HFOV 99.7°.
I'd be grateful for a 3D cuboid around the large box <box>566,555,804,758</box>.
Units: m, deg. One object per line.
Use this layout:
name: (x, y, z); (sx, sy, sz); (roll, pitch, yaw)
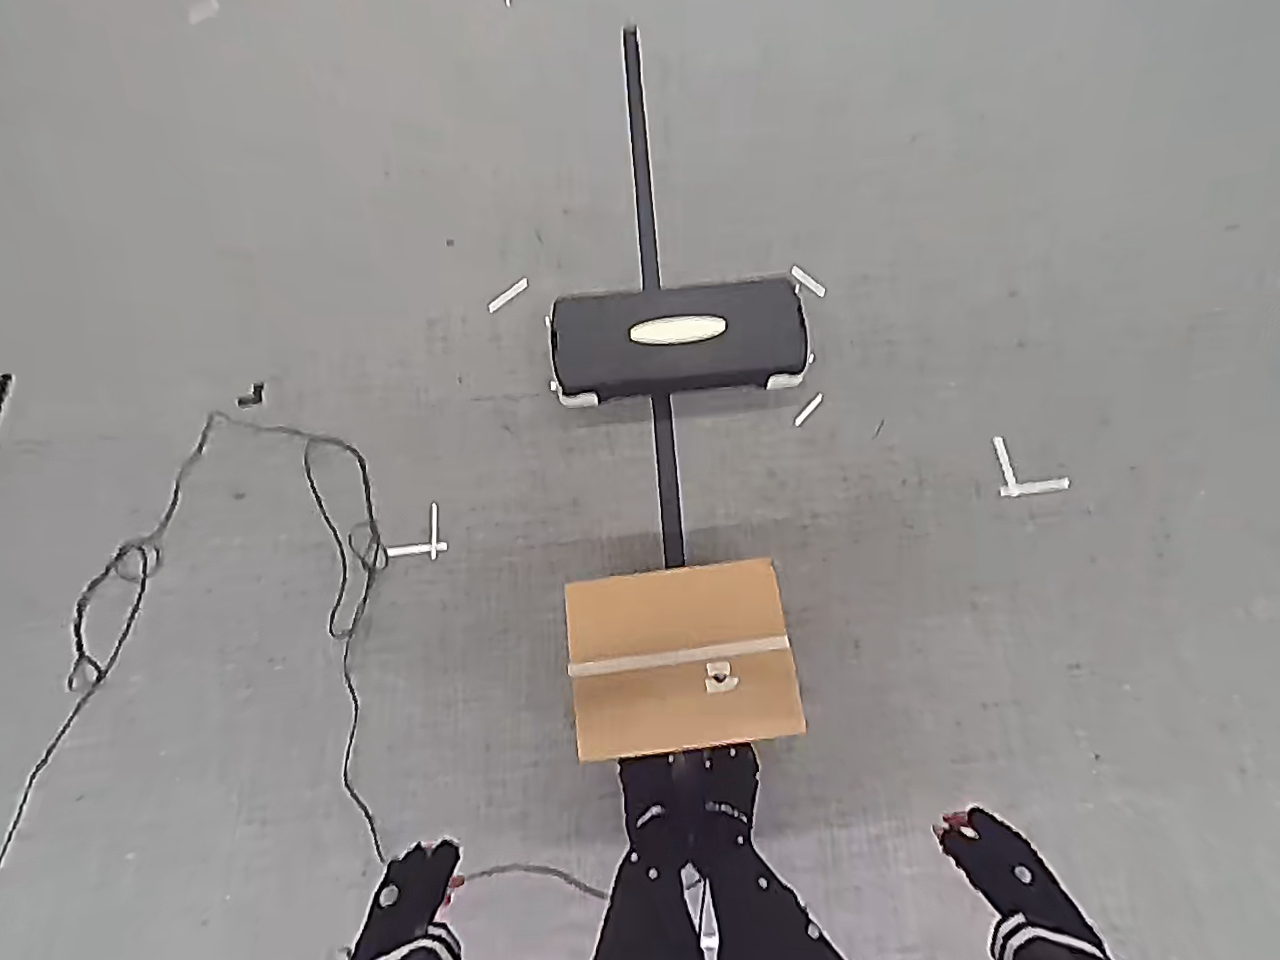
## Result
large box: (0.077, 0.360, 1.138); (0.408, 0.320, 0.320); (-8, 74, -1)
